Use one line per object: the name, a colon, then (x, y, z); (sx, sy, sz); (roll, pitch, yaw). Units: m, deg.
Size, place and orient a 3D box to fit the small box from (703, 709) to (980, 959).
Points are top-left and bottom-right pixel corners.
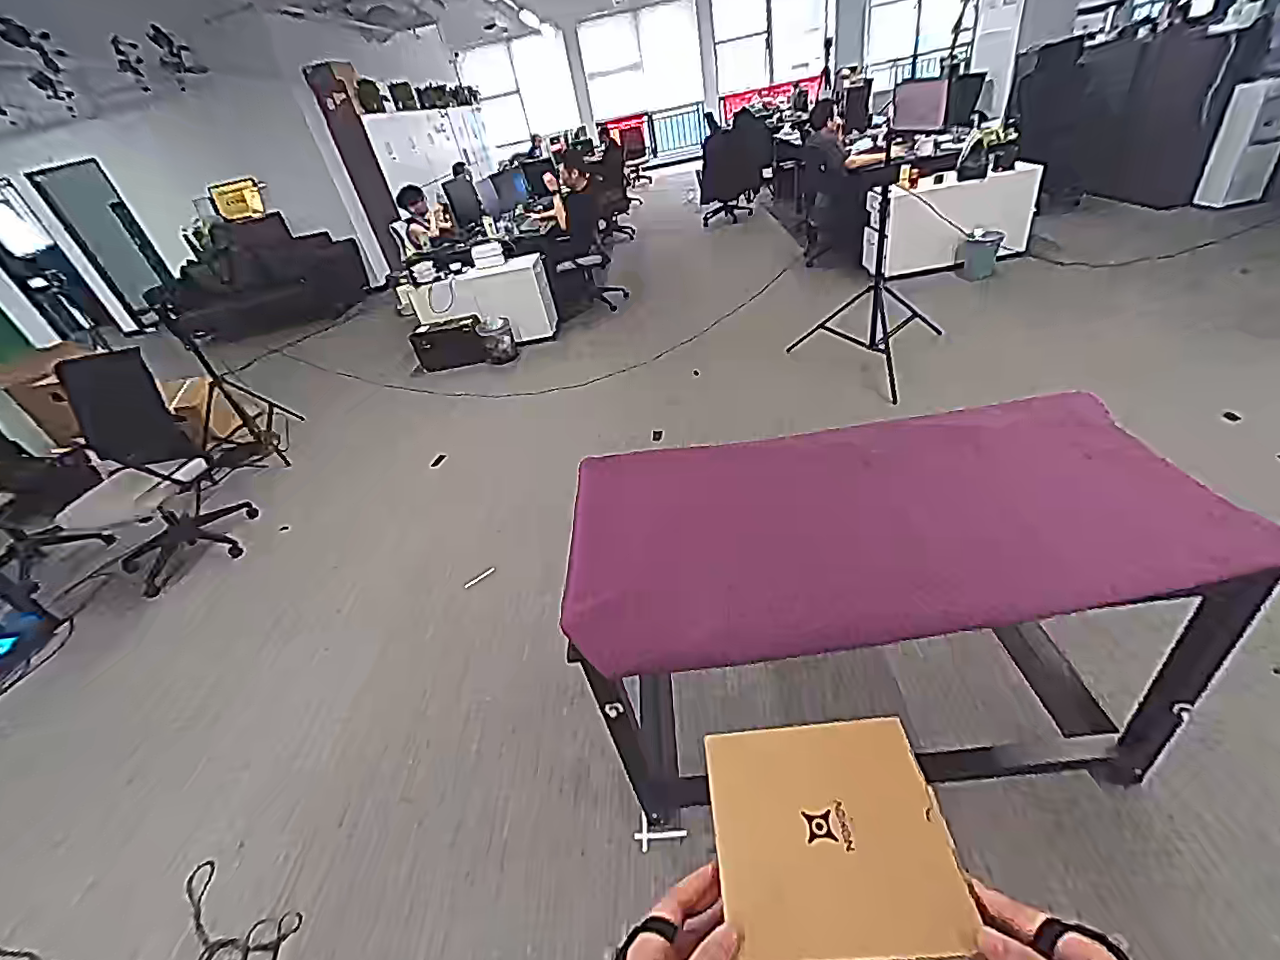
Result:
small box: (0.157, 0.331, 0.476); (0.179, 0.176, 0.168); (-8, 35, 5)
